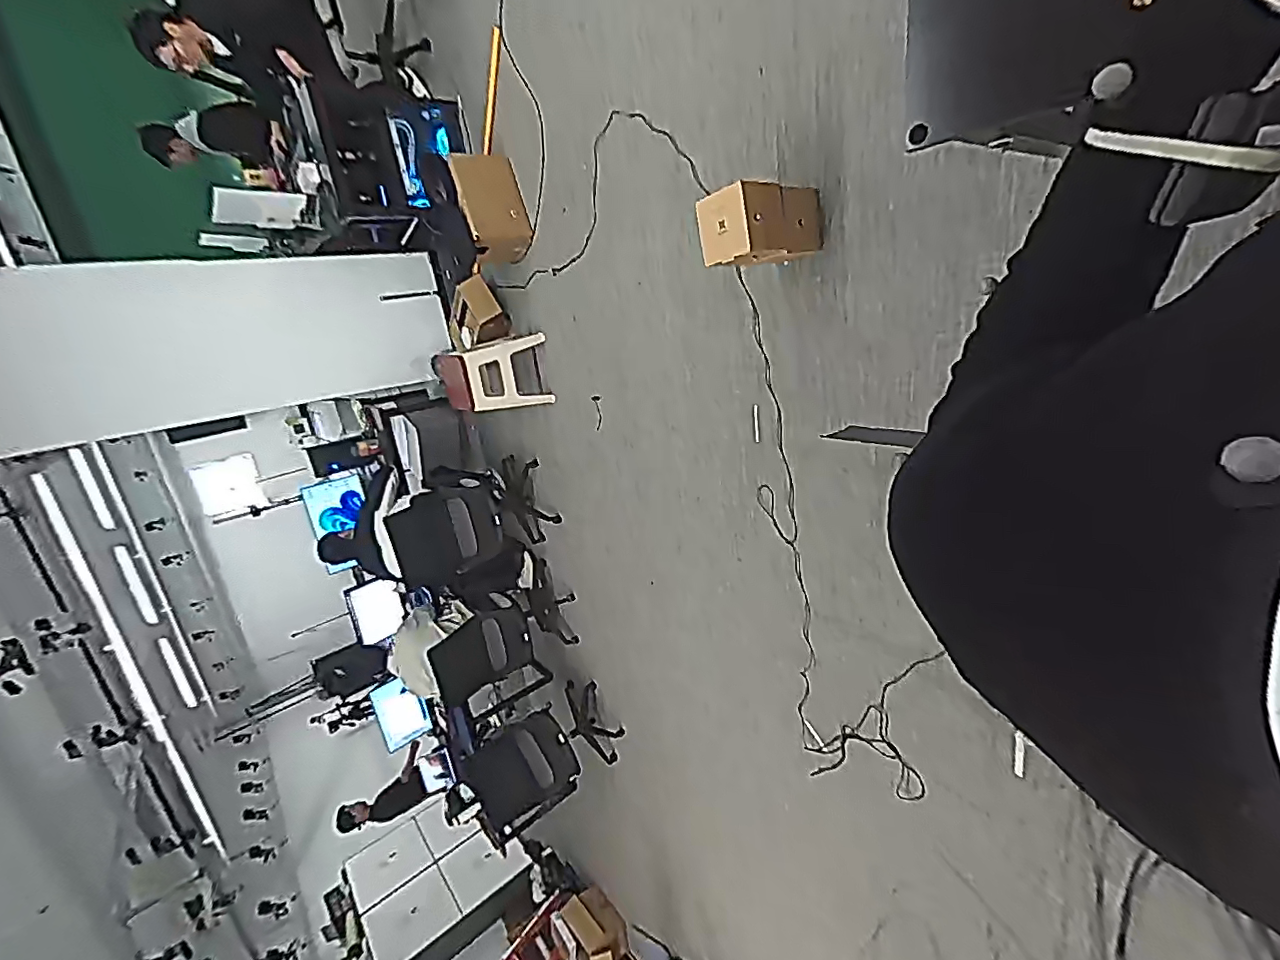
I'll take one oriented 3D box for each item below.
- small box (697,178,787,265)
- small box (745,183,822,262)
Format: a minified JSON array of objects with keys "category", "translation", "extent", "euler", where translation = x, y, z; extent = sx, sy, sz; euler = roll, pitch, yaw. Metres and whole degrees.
[{"category":"small box","translation":[0.284,-0.703,1.481],"extent":[0.168,0.176,0.179],"euler":[4,109,51]},{"category":"small box","translation":[0.410,-0.745,1.575],"extent":[0.168,0.176,0.179],"euler":[9,115,51]}]
